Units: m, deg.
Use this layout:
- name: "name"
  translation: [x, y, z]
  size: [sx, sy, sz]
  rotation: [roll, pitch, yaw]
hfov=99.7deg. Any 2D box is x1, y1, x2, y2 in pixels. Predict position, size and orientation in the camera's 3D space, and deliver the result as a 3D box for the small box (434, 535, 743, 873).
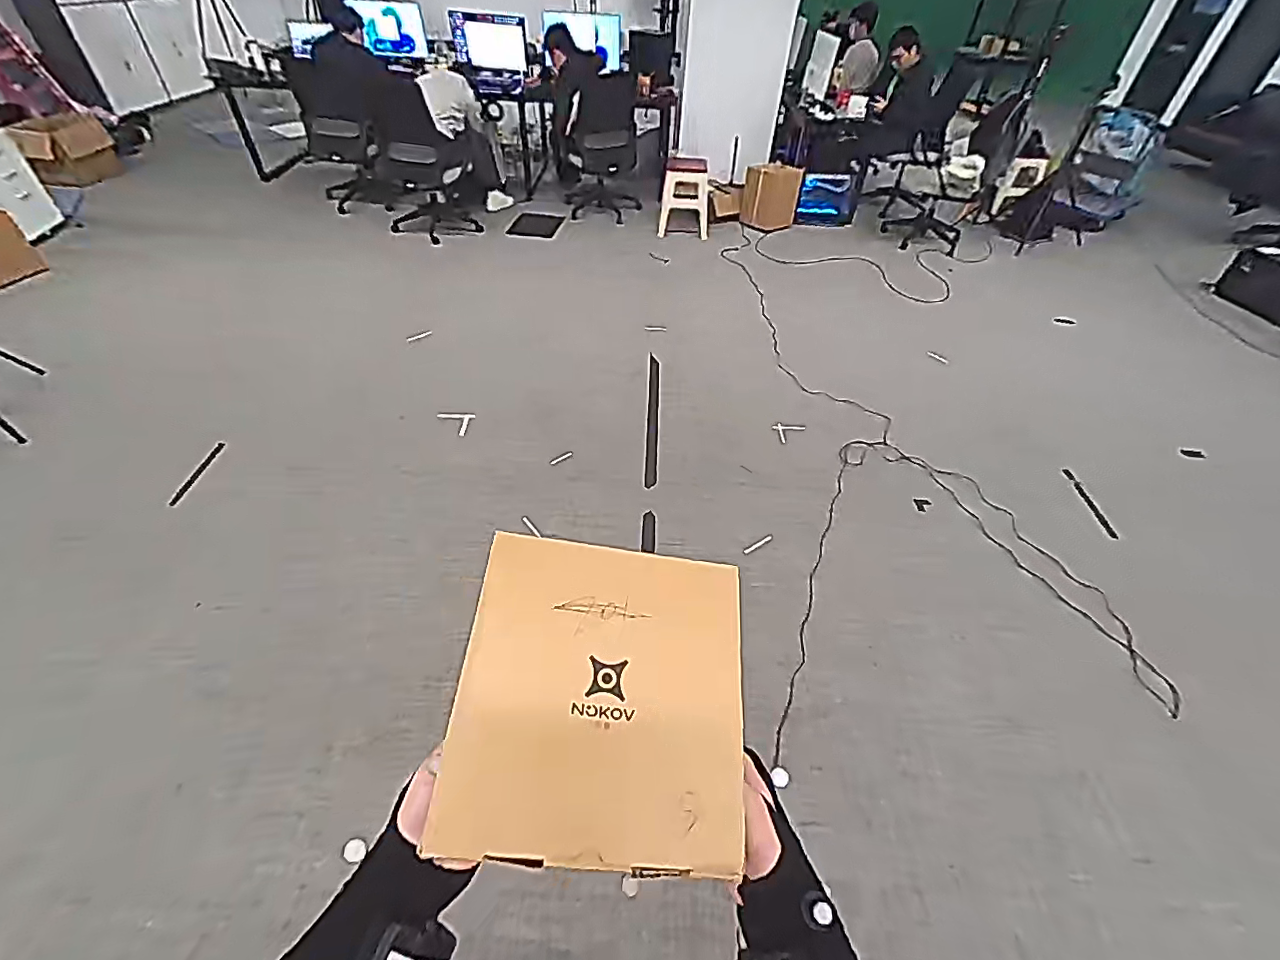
- name: "small box"
  translation: [-0.033, 0.164, 0.390]
  size: [0.168, 0.176, 0.179]
  rotation: [10, 56, -8]
